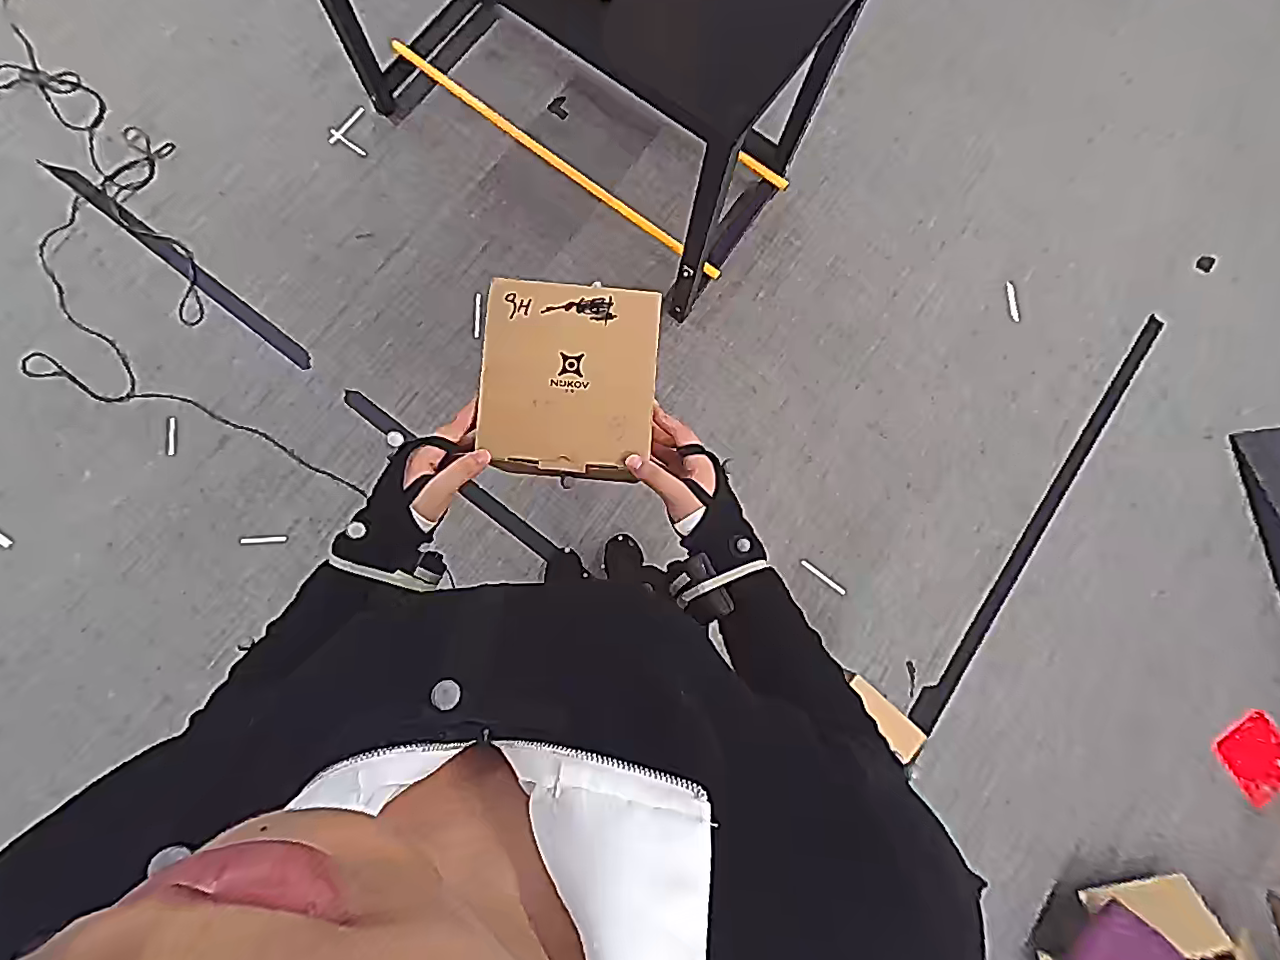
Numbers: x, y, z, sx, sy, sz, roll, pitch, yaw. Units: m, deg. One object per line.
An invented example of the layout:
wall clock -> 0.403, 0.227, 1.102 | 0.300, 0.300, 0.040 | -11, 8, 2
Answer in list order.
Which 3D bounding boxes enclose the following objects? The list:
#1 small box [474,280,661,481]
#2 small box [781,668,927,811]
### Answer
small box -> -0.070, -0.092, 0.583 | 0.168, 0.176, 0.179 | 4, 87, -3
small box -> 0.415, 0.500, 1.077 | 0.179, 0.176, 0.168 | 42, 80, 5
